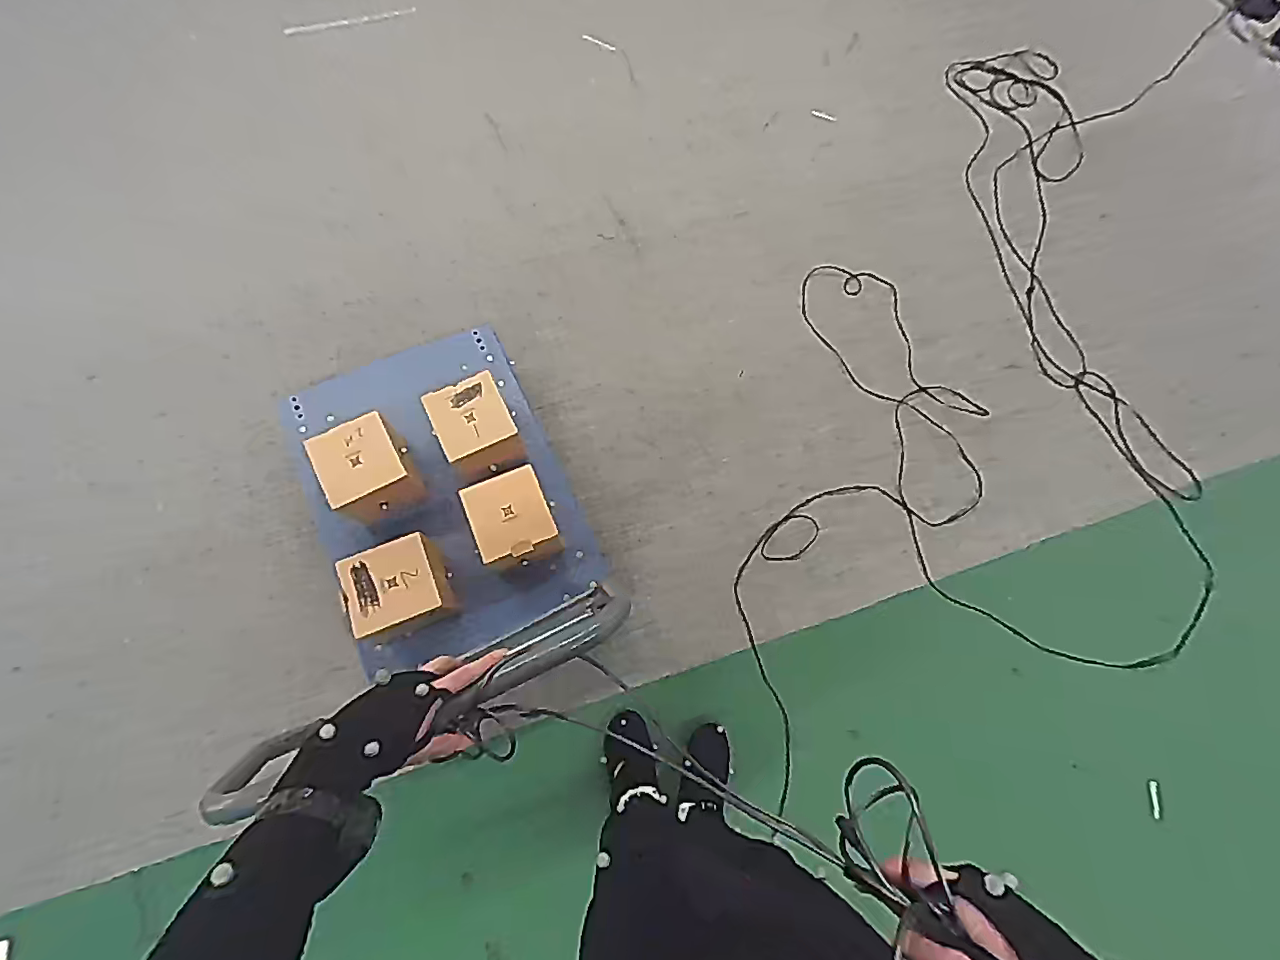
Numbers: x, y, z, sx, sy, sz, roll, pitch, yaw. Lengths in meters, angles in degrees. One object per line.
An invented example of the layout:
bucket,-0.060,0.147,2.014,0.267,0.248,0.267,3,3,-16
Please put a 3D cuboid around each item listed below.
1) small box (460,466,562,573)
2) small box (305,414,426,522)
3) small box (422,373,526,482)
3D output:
small box,-0.287,0.096,1.229,0.168,0.176,0.179,-22,77,-10
small box,-0.618,-0.018,1.238,0.168,0.176,0.179,-27,77,-12
small box,-0.388,-0.118,1.283,0.168,0.176,0.179,-26,77,-10
